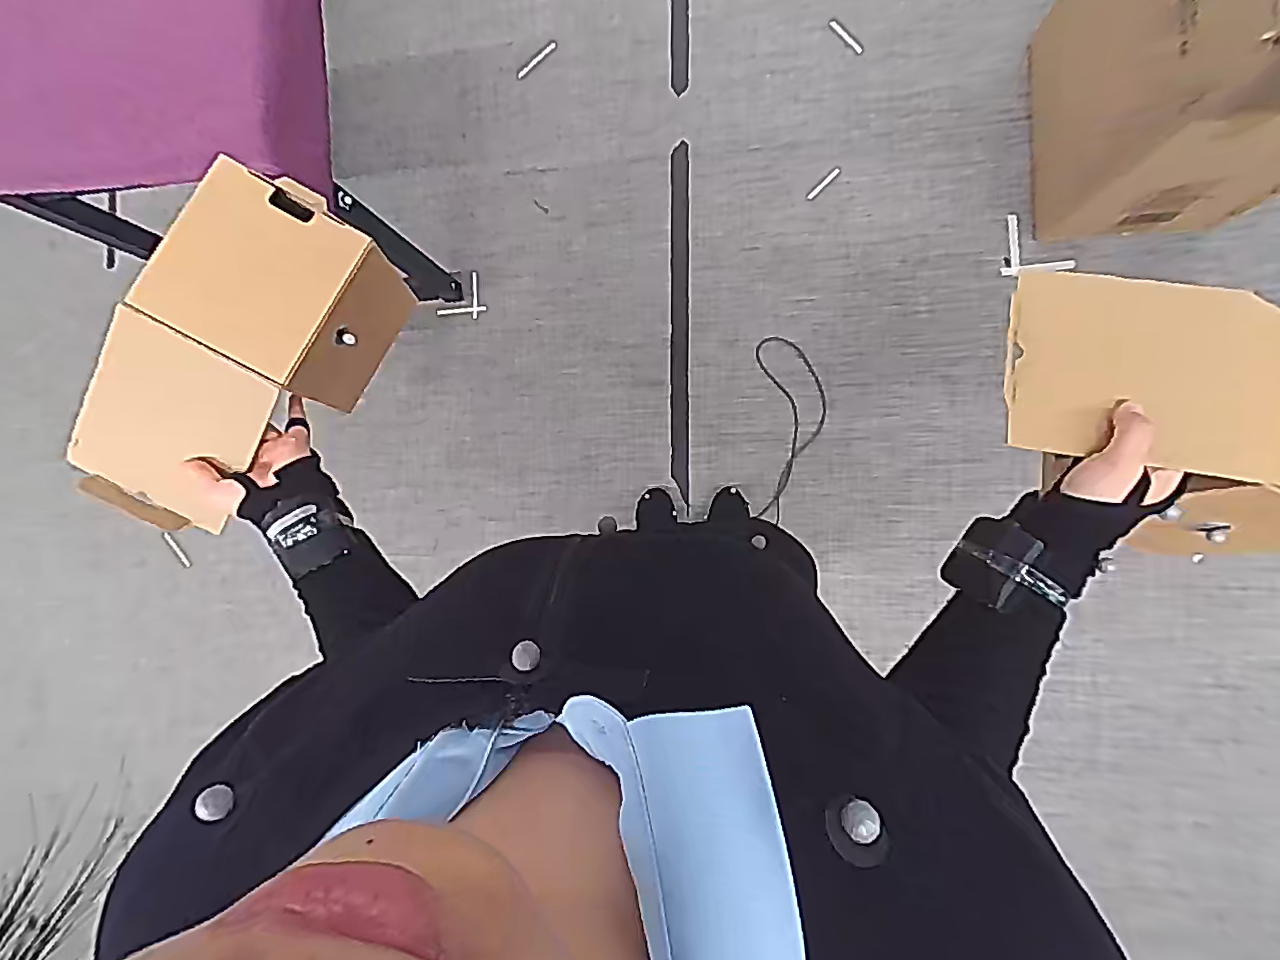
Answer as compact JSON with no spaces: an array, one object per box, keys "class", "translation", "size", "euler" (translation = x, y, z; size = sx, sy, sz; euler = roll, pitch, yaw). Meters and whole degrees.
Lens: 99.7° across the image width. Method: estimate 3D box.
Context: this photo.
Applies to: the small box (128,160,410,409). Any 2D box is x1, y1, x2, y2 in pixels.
[{"class":"small box","translation":[-0.390,-0.199,0.610],"size":[0.168,0.176,0.179],"euler":[29,84,-6]}]
